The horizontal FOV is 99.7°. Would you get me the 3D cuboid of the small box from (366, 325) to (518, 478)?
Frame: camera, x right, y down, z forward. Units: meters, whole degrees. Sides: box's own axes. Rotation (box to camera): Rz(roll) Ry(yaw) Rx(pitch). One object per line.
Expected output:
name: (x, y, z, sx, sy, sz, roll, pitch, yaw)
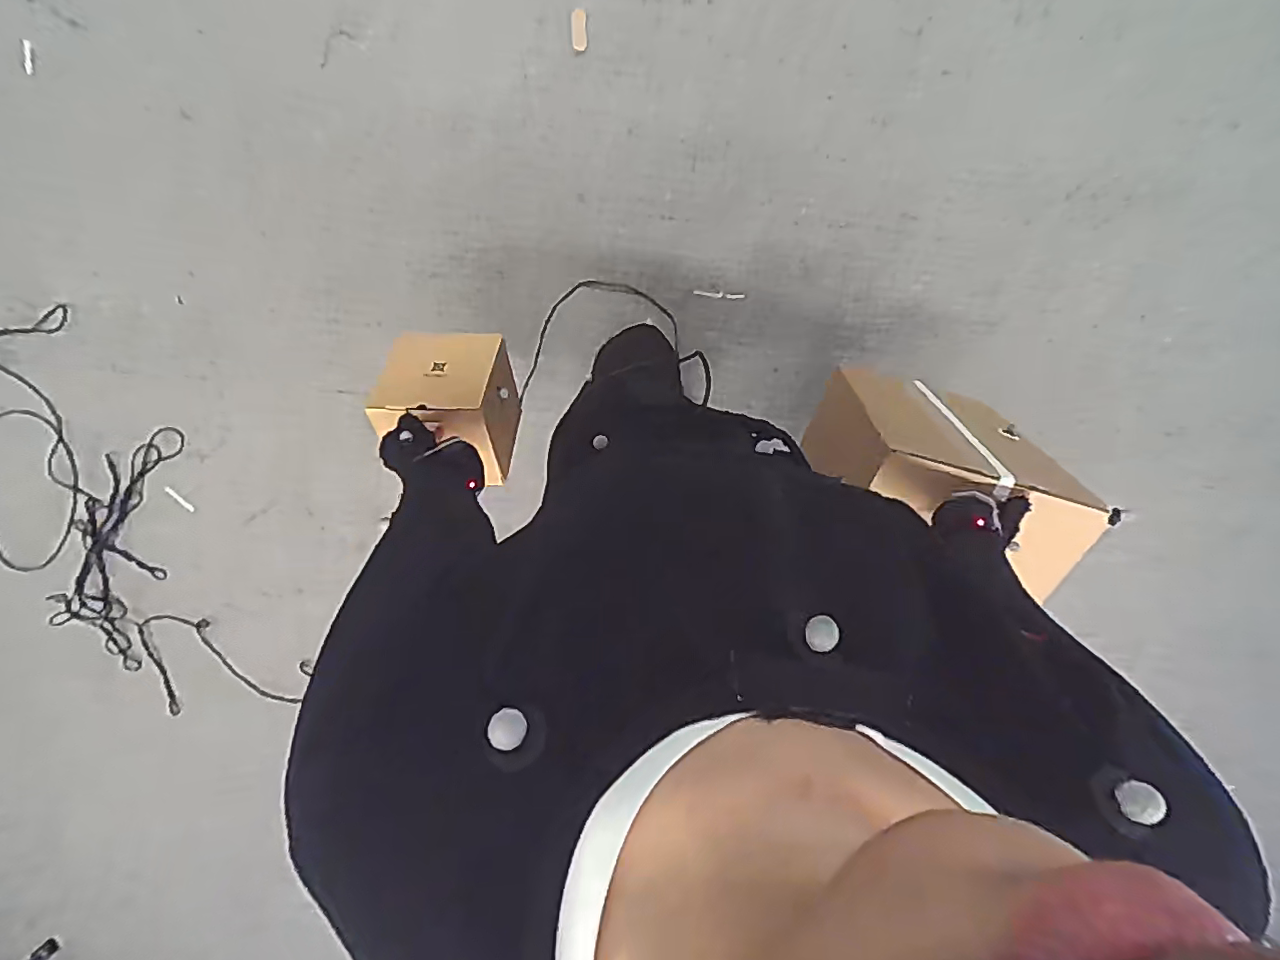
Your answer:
small box: (-0.299, -0.124, 0.865, 0.168, 0.179, 0.176, 2, 143, 1)
